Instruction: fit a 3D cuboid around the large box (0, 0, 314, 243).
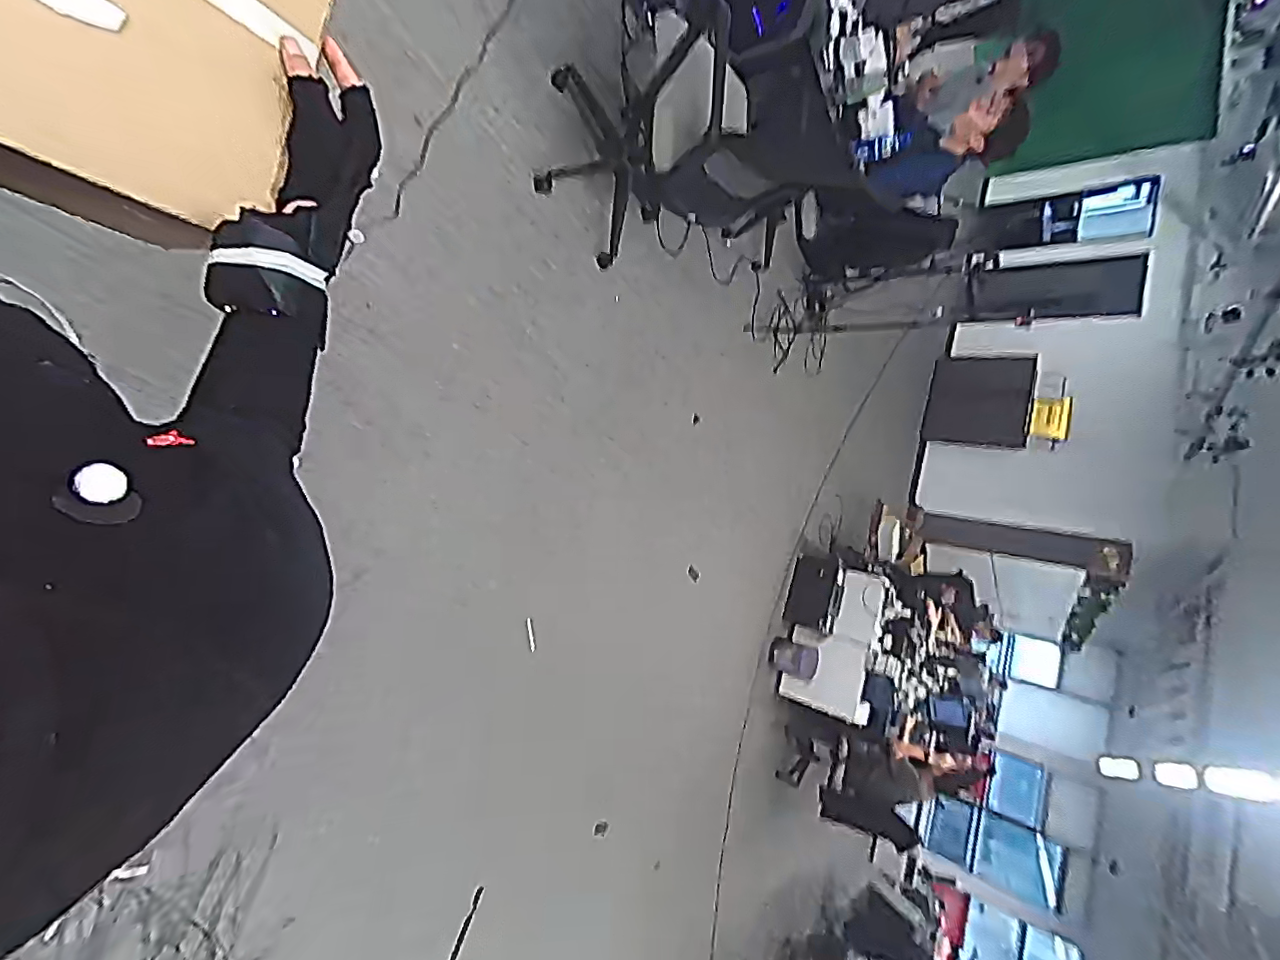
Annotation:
[{"bbox_3d":[-0.509,-0.399,0.365,0.408,0.320,0.320,12,96,-55],"label":"large box"}]
